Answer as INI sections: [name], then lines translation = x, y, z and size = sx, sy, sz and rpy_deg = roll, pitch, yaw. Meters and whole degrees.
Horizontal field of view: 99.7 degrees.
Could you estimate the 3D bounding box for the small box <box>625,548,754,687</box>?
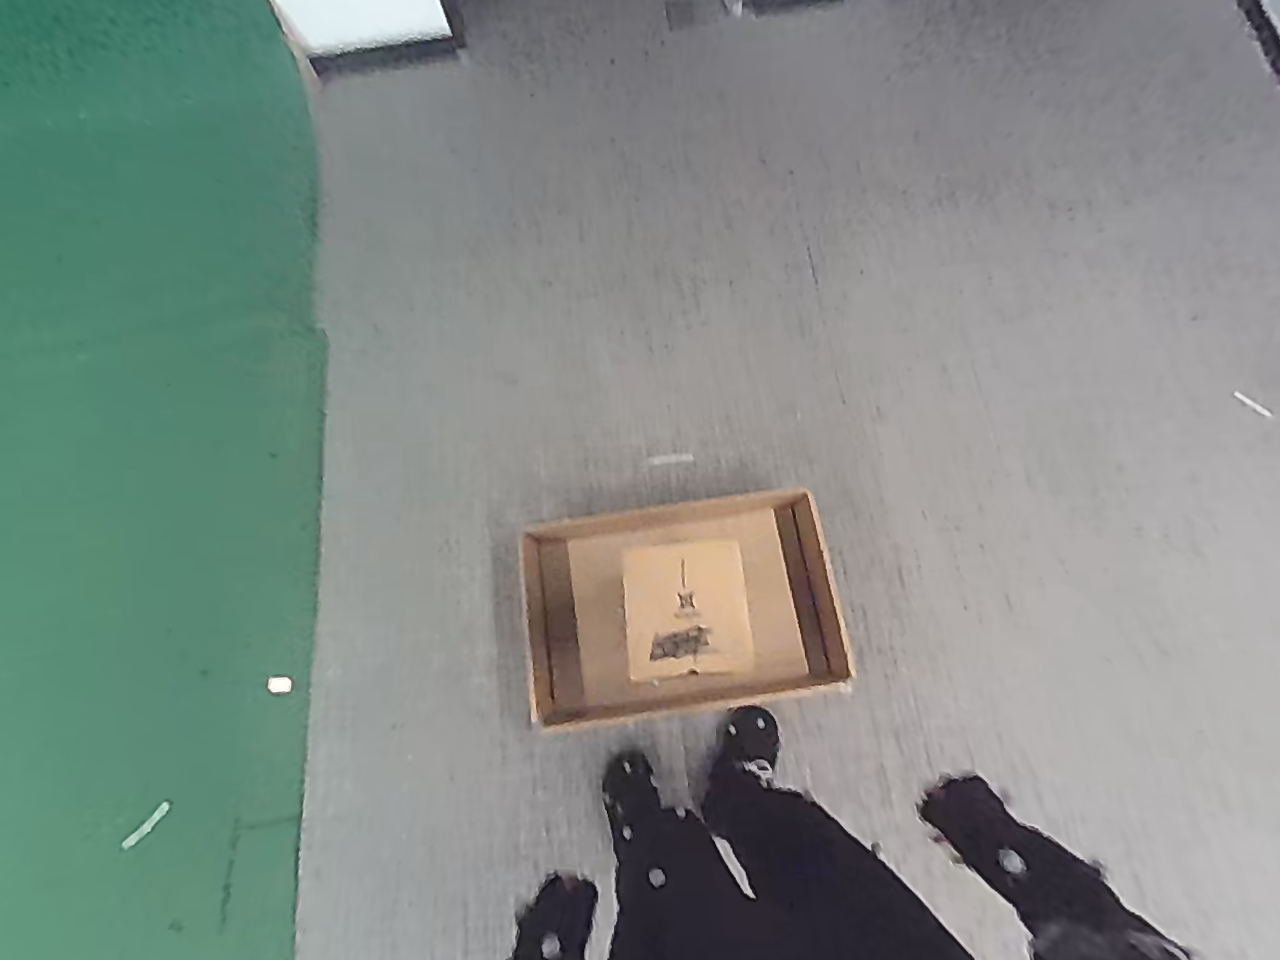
[small box]
translation = 0.069, 0.206, 0.806
size = 0.168, 0.176, 0.179
rpy_deg = -5, 71, 2
